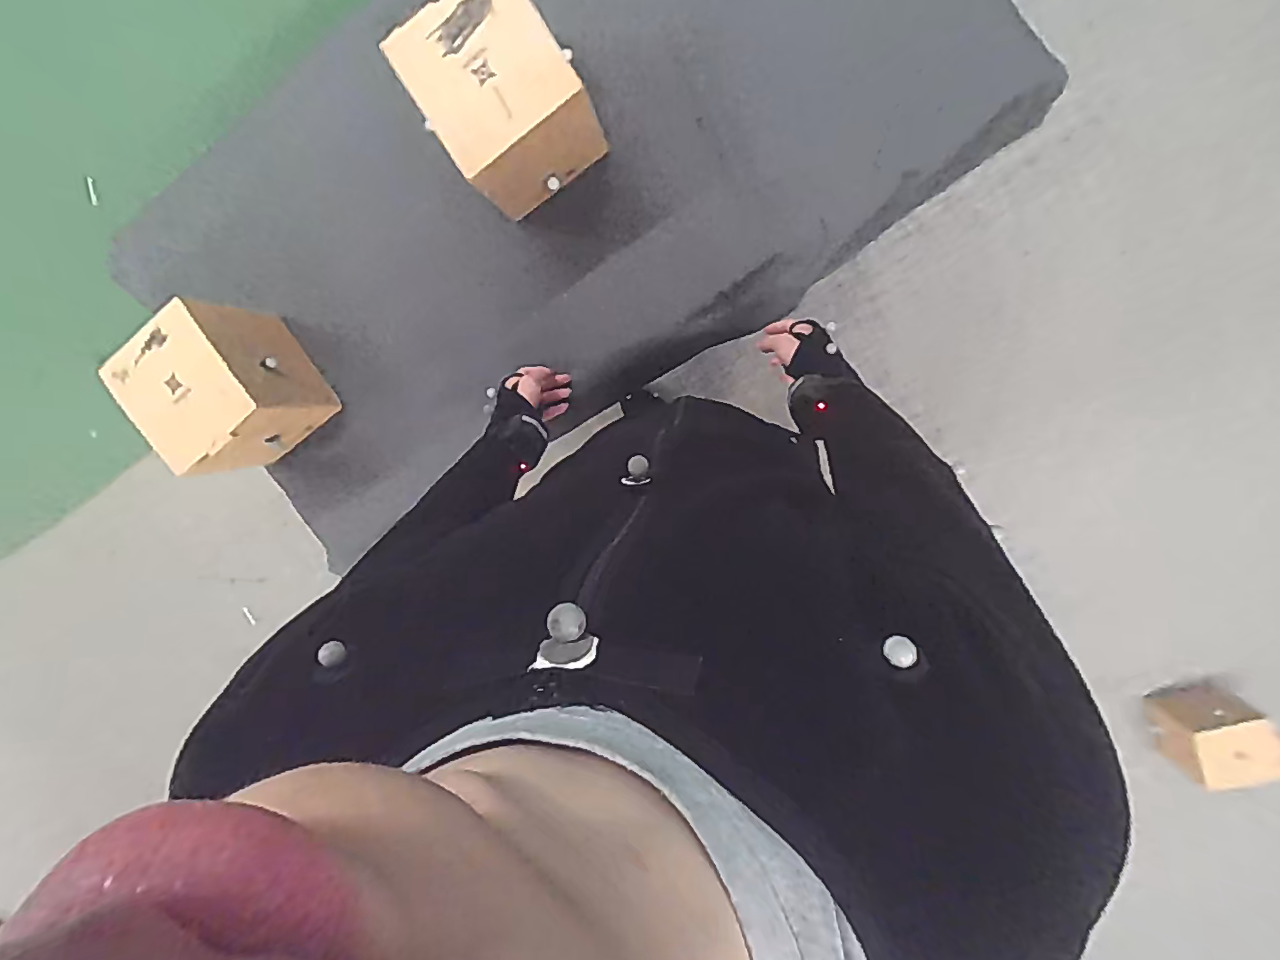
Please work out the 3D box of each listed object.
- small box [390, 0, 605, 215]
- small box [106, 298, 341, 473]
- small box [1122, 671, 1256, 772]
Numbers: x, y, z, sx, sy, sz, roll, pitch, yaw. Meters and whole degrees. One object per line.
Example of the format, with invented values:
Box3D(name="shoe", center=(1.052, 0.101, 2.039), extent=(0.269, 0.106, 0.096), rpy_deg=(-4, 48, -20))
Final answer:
Box3D(name="small box", center=(-0.164, -0.474, 0.681), extent=(0.168, 0.176, 0.179), rpy_deg=(-32, 97, 11))
Box3D(name="small box", center=(-0.588, -0.137, 0.790), extent=(0.168, 0.176, 0.179), rpy_deg=(-34, 95, 10))
Box3D(name="small box", center=(1.467, 0.642, 1.454), extent=(0.179, 0.176, 0.168), rpy_deg=(-19, 96, 10))
